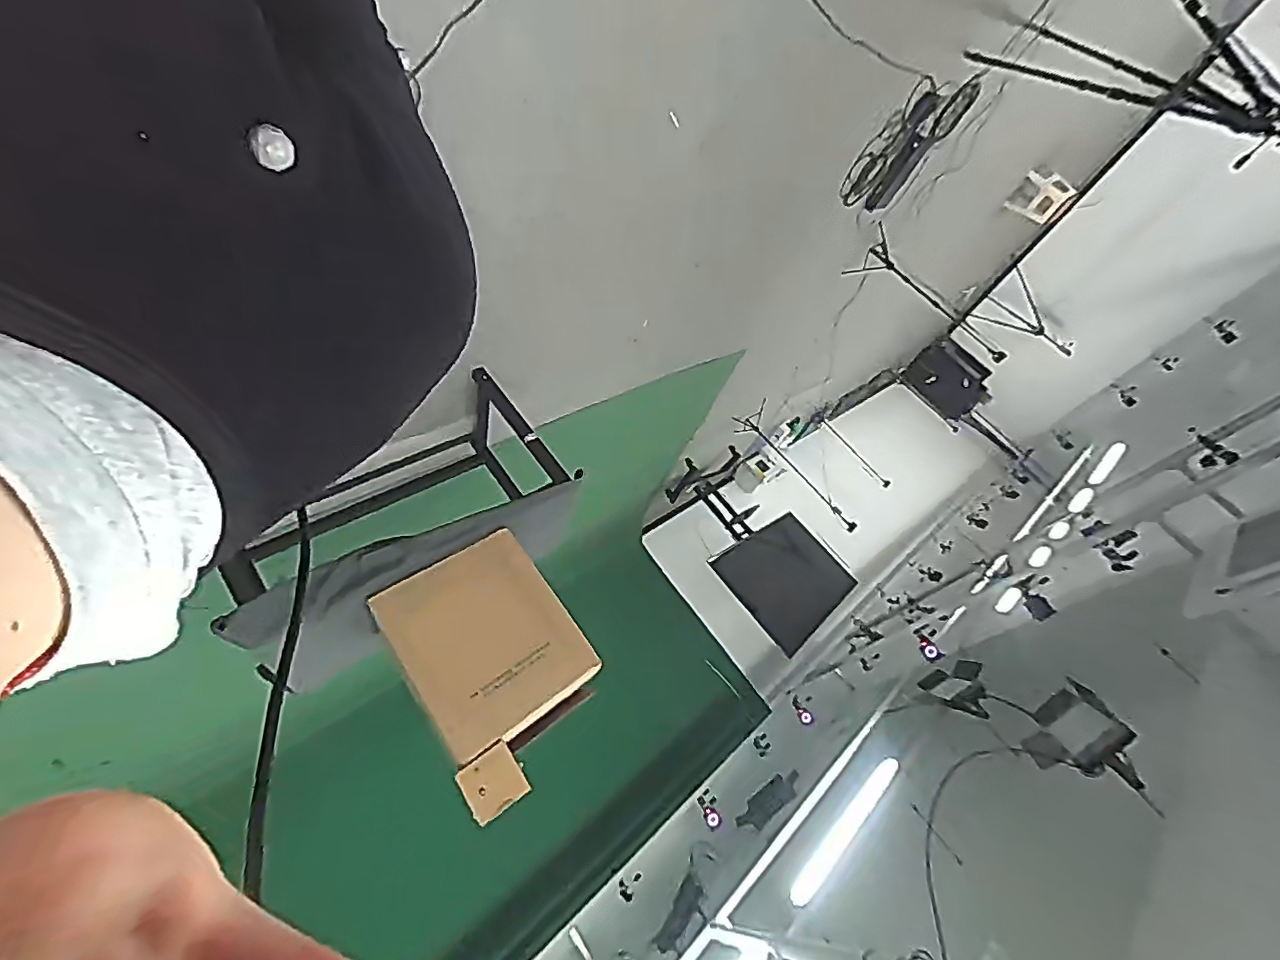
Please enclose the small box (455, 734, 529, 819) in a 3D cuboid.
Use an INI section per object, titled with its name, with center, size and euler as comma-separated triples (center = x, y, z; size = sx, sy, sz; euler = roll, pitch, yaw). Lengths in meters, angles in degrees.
[small box]
center = -0.460, 0.922, 1.690
size = 0.168, 0.176, 0.179
euler = -30, 162, -24
